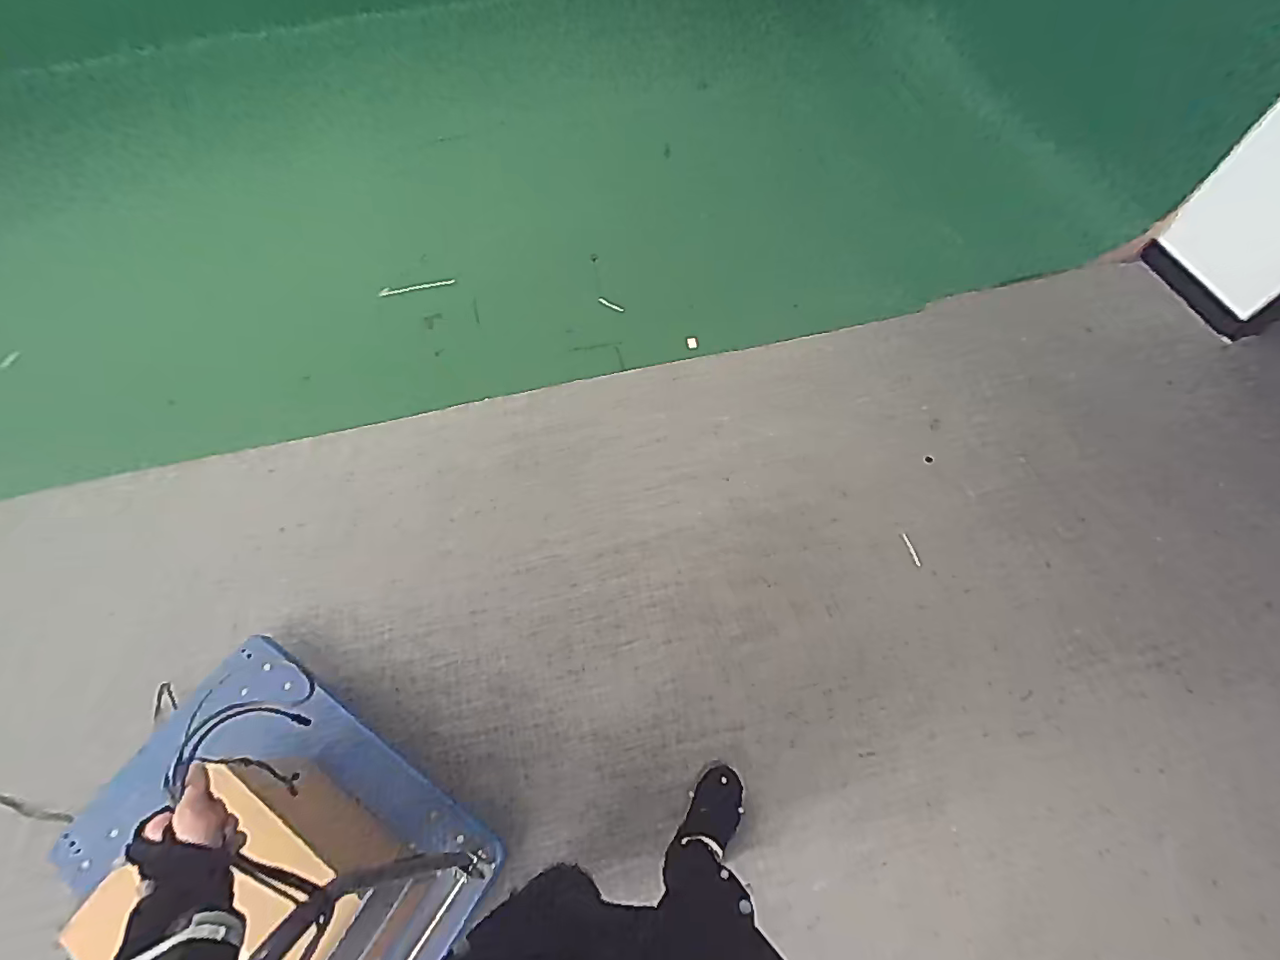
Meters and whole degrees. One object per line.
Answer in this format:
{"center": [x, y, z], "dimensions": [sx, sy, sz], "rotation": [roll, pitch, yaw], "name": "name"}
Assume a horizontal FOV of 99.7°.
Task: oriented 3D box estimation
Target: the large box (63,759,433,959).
{"center": [-0.683, 0.782, 1.008], "dimensions": [0.408, 0.320, 0.320], "rotation": [28, 66, 17], "name": "large box"}
